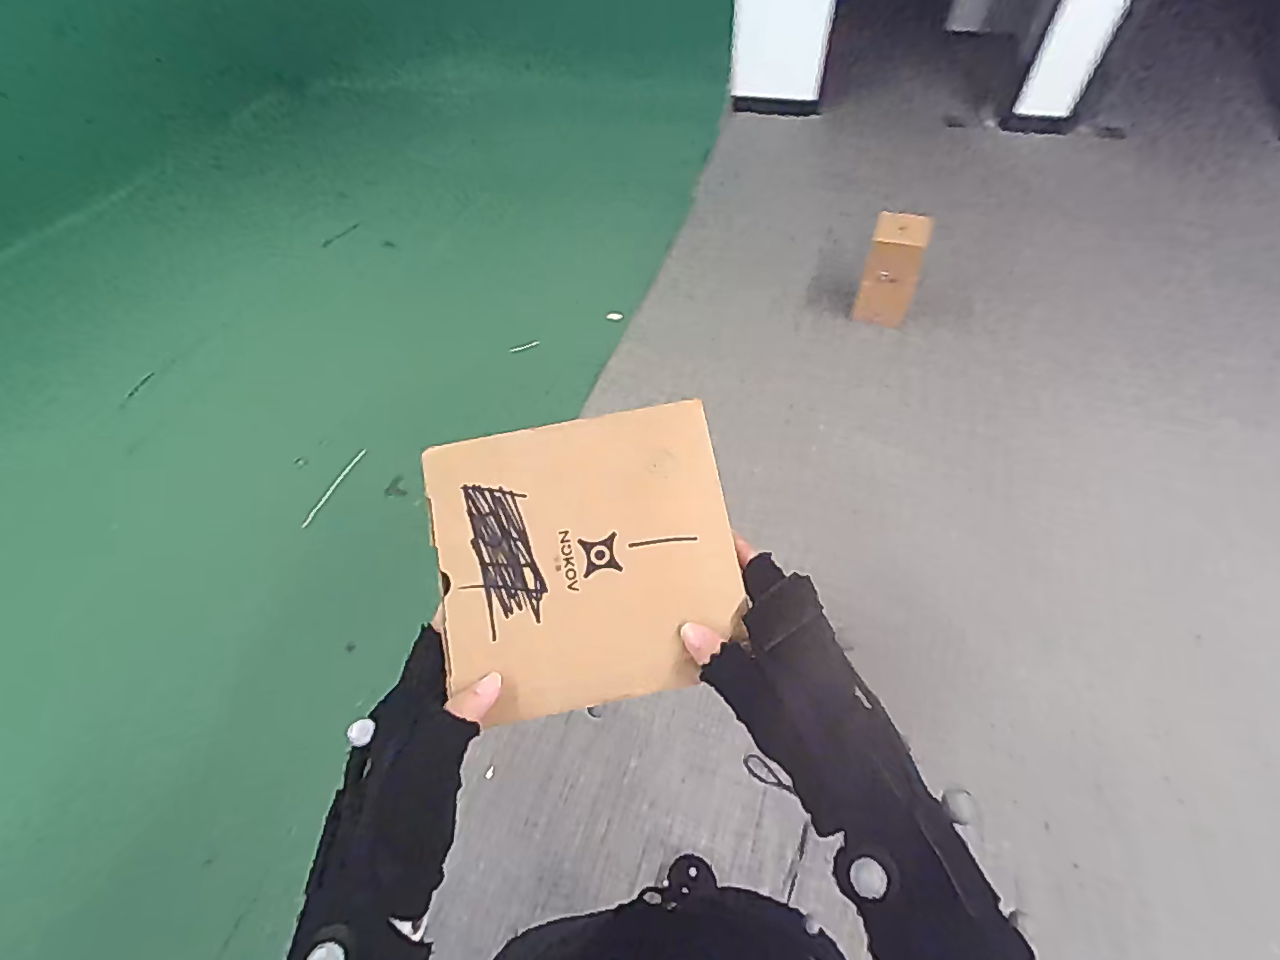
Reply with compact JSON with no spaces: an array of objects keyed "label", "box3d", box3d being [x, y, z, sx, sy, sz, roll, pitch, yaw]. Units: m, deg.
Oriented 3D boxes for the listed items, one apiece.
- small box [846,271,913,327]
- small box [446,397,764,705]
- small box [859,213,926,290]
[{"label":"small box","box3d":[0.885,-0.692,2.005,0.179,0.176,0.168,16,59,15]},{"label":"small box","box3d":[-0.024,0.055,0.404,0.179,0.176,0.168,-10,79,-2]},{"label":"small box","box3d":[0.872,-0.794,1.878,0.168,0.176,0.179,15,59,16]}]
